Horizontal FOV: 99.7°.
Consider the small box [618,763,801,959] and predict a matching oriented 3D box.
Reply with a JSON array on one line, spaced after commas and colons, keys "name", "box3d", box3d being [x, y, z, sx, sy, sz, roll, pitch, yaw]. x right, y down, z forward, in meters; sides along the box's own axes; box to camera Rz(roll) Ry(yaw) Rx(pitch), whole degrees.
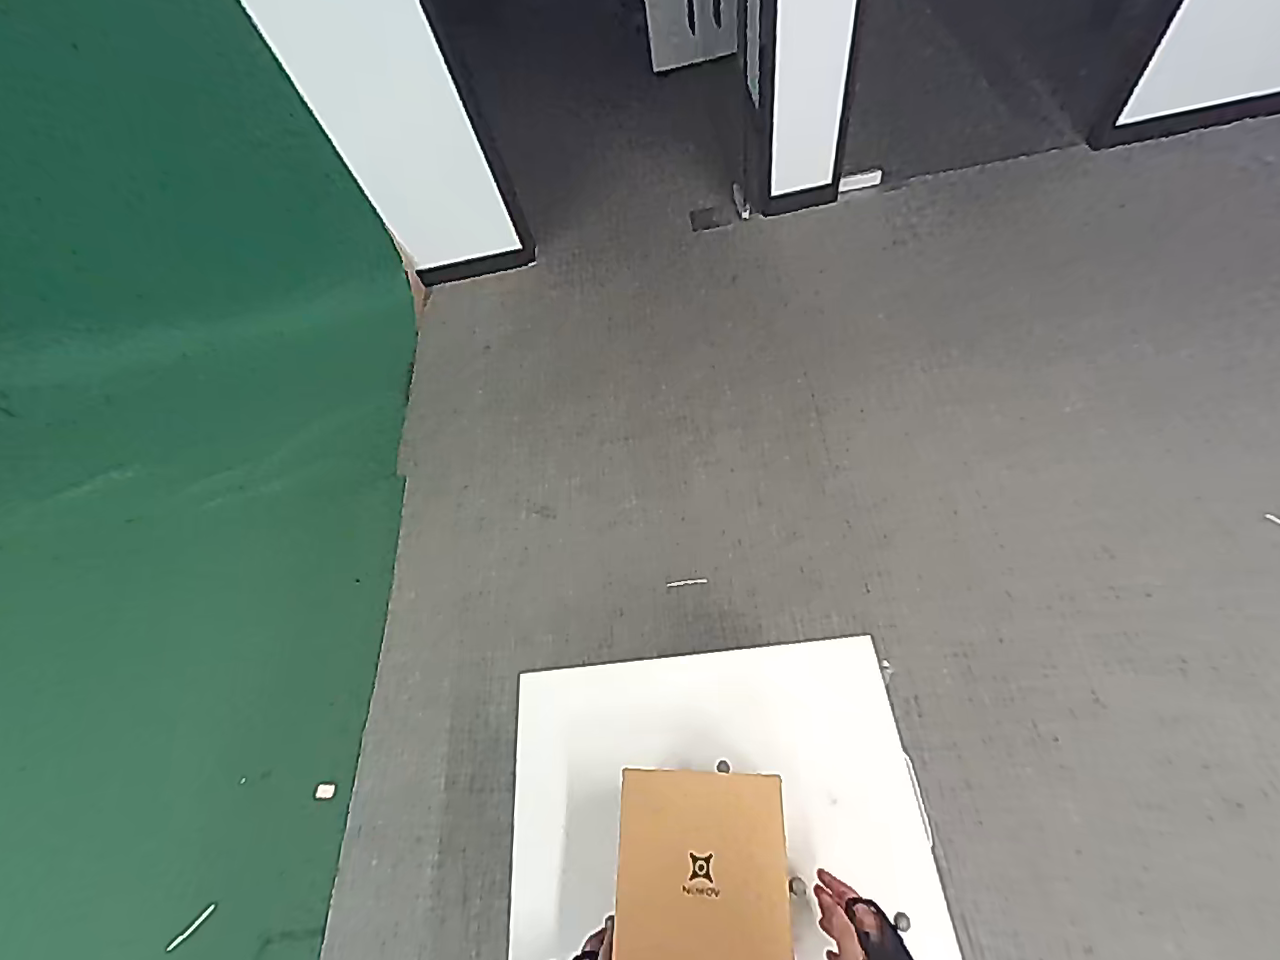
[{"name": "small box", "box3d": [0.076, 0.411, 0.582, 0.168, 0.176, 0.179, -3, 60, 10]}]
